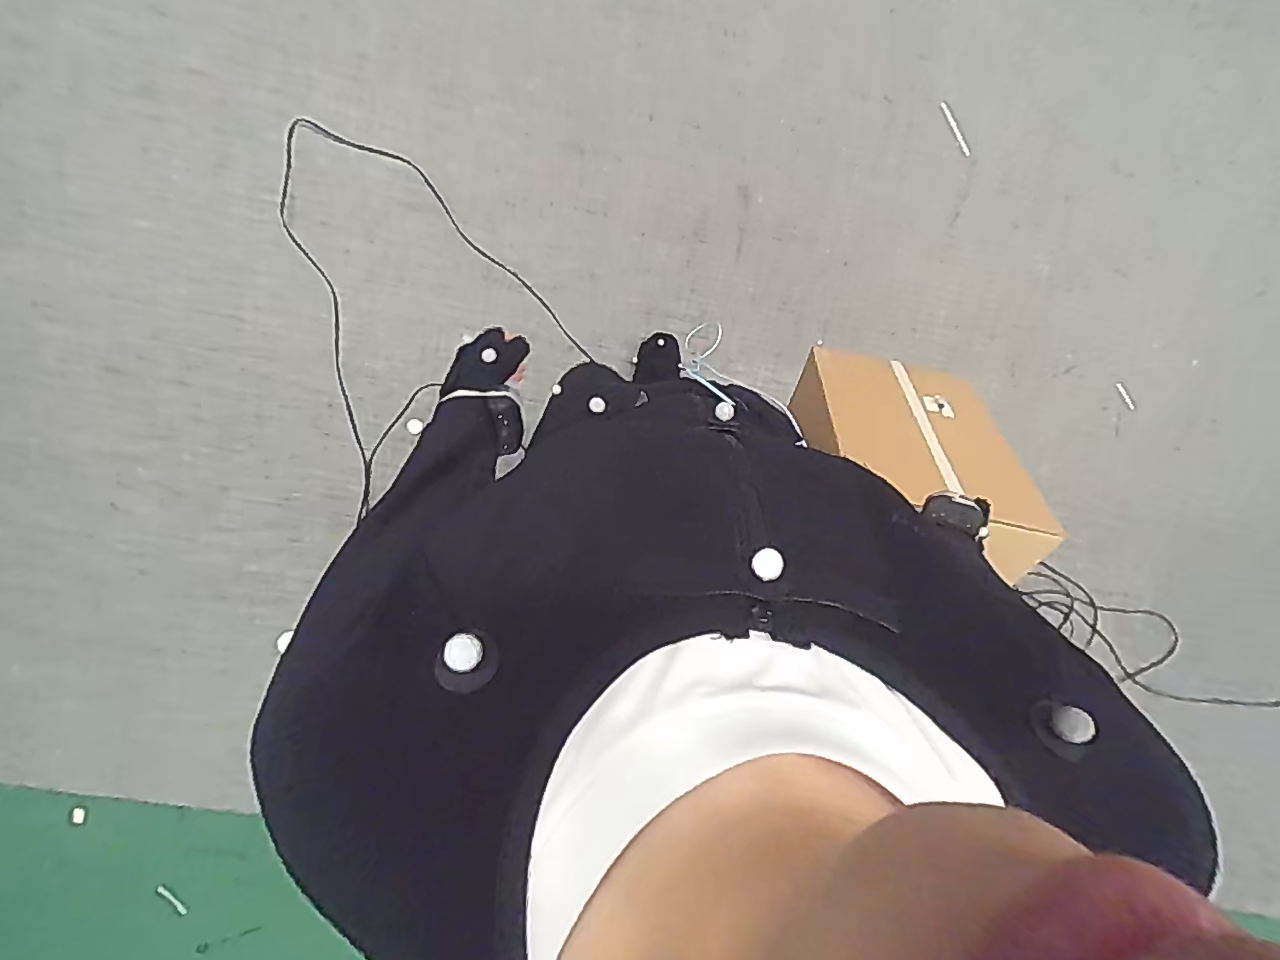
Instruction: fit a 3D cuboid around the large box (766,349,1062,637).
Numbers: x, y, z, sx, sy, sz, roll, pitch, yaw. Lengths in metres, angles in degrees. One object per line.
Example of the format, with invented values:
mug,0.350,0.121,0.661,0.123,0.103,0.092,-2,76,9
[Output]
large box,0.436,0.019,0.991,0.320,0.408,0.320,11,133,-3
